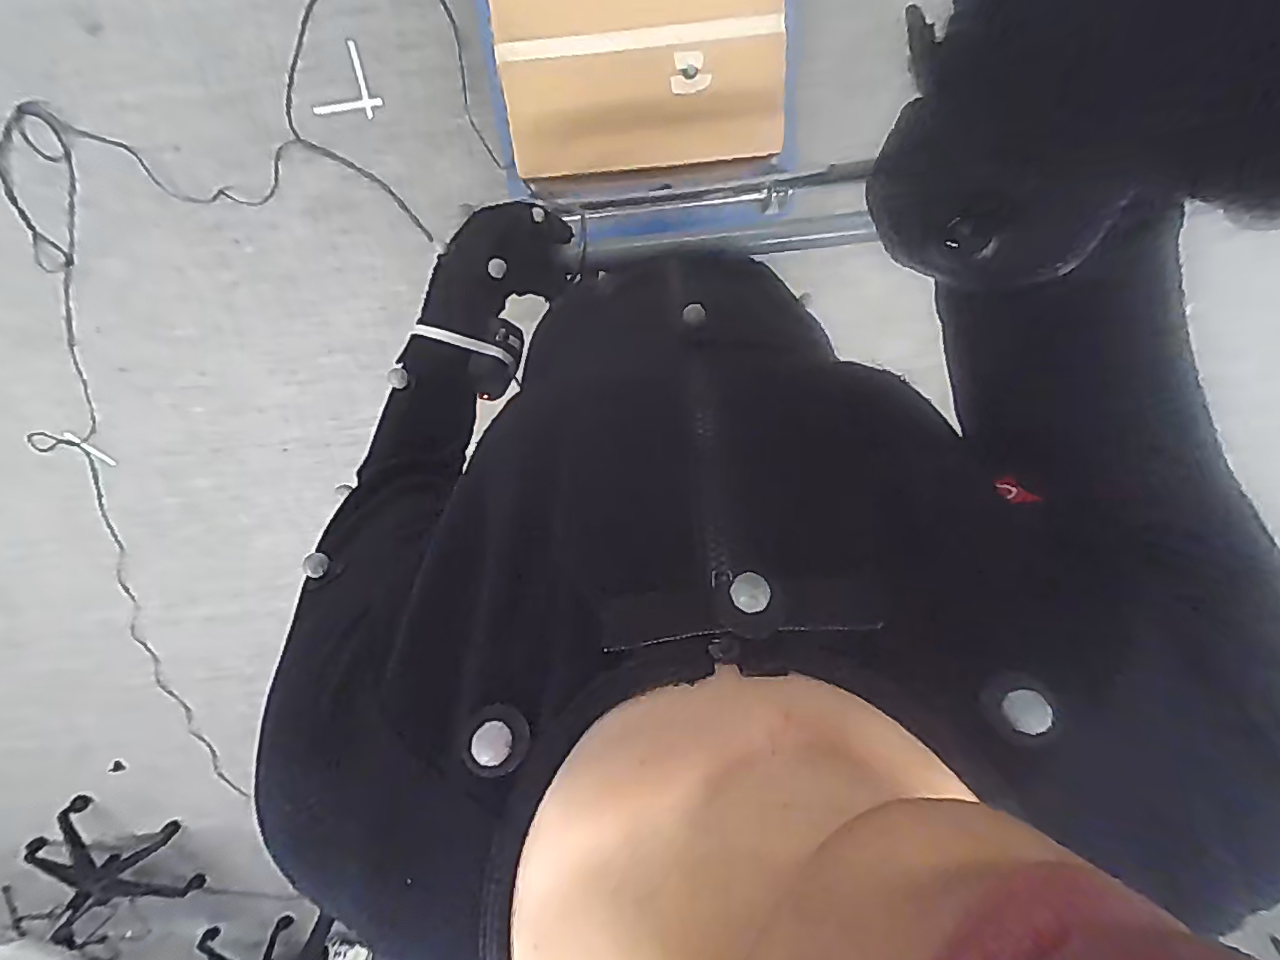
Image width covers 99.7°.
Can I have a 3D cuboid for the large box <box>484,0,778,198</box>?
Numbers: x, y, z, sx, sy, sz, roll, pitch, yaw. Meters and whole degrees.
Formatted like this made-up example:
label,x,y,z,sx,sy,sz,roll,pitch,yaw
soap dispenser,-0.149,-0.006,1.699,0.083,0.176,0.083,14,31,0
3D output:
label,x,y,z,sx,sy,sz,roll,pitch,yaw
large box,-0.013,-0.666,0.889,0.408,0.320,0.320,-6,115,0
